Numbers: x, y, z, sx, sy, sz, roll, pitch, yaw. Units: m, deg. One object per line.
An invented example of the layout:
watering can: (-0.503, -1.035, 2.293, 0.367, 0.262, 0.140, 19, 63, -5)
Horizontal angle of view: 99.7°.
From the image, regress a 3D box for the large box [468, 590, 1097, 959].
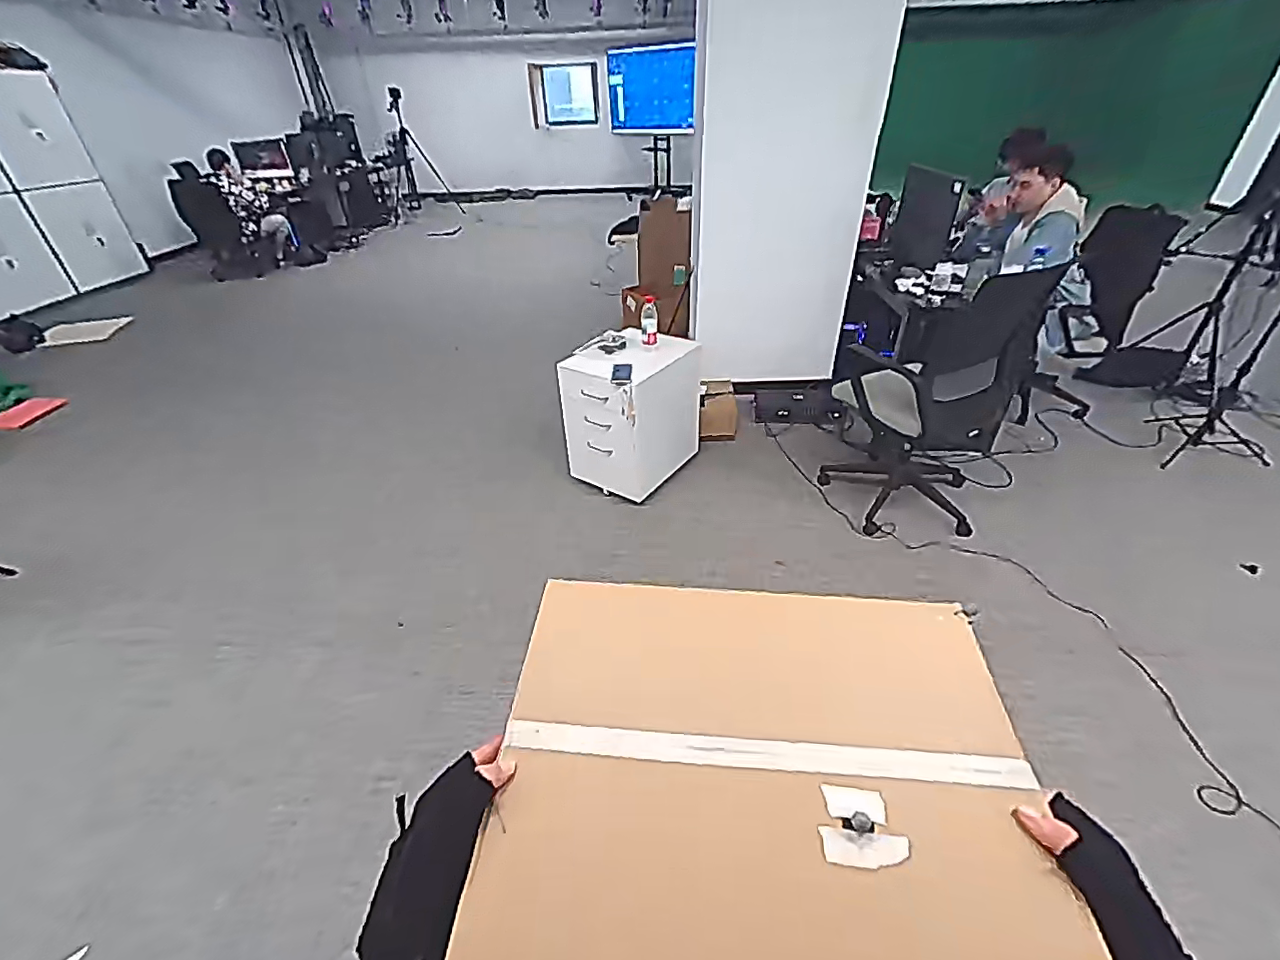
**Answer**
large box: (0.099, 0.332, 0.530, 0.408, 0.320, 0.320, 3, 42, 5)
